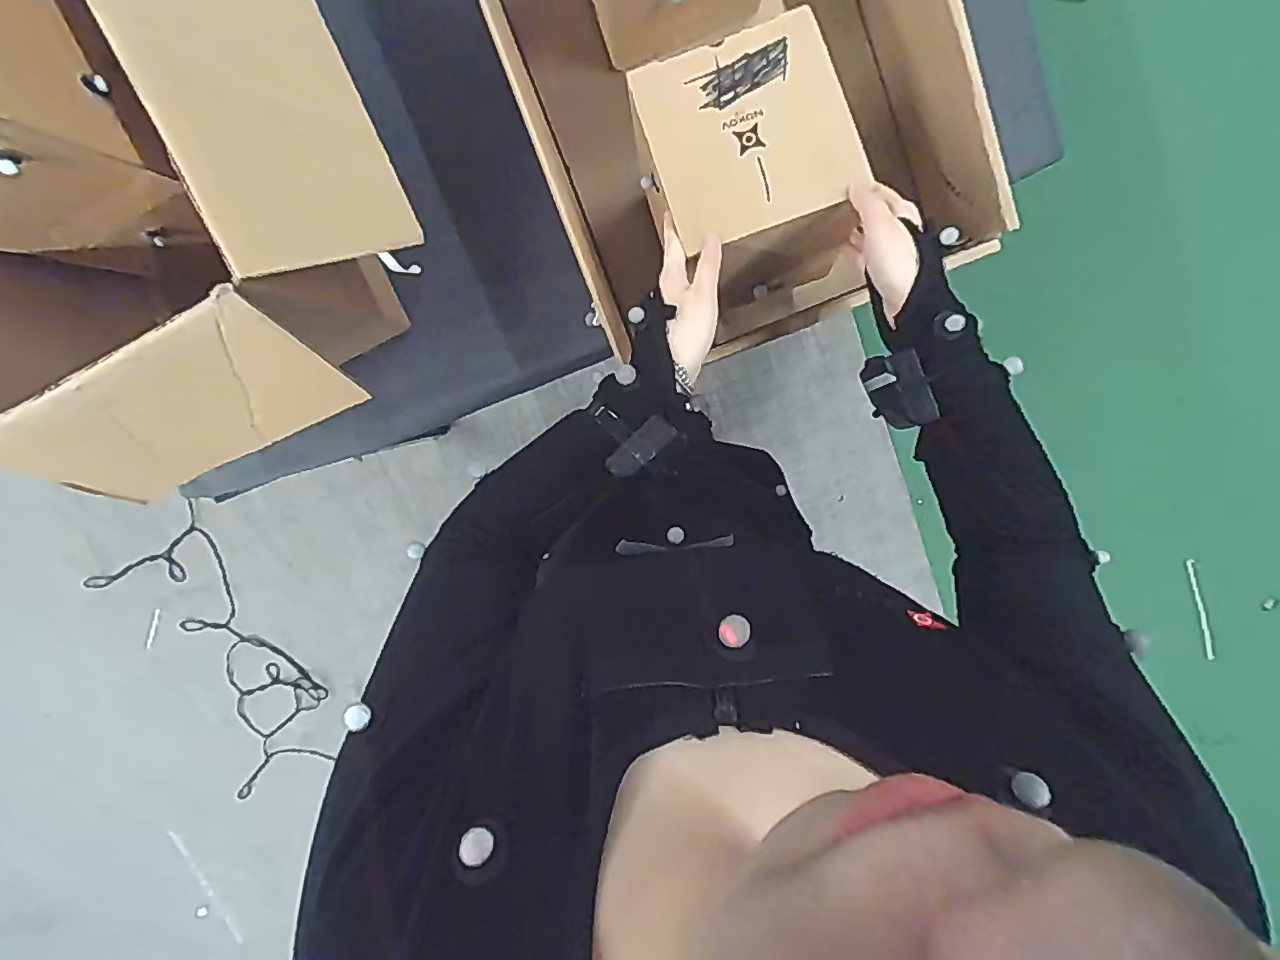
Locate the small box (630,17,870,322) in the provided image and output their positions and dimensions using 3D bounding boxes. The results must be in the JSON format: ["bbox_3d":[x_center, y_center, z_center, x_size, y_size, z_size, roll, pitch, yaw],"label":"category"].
[{"bbox_3d":[0.097,-0.287,0.540,0.168,0.176,0.179,-18,85,5],"label":"small box"}]
